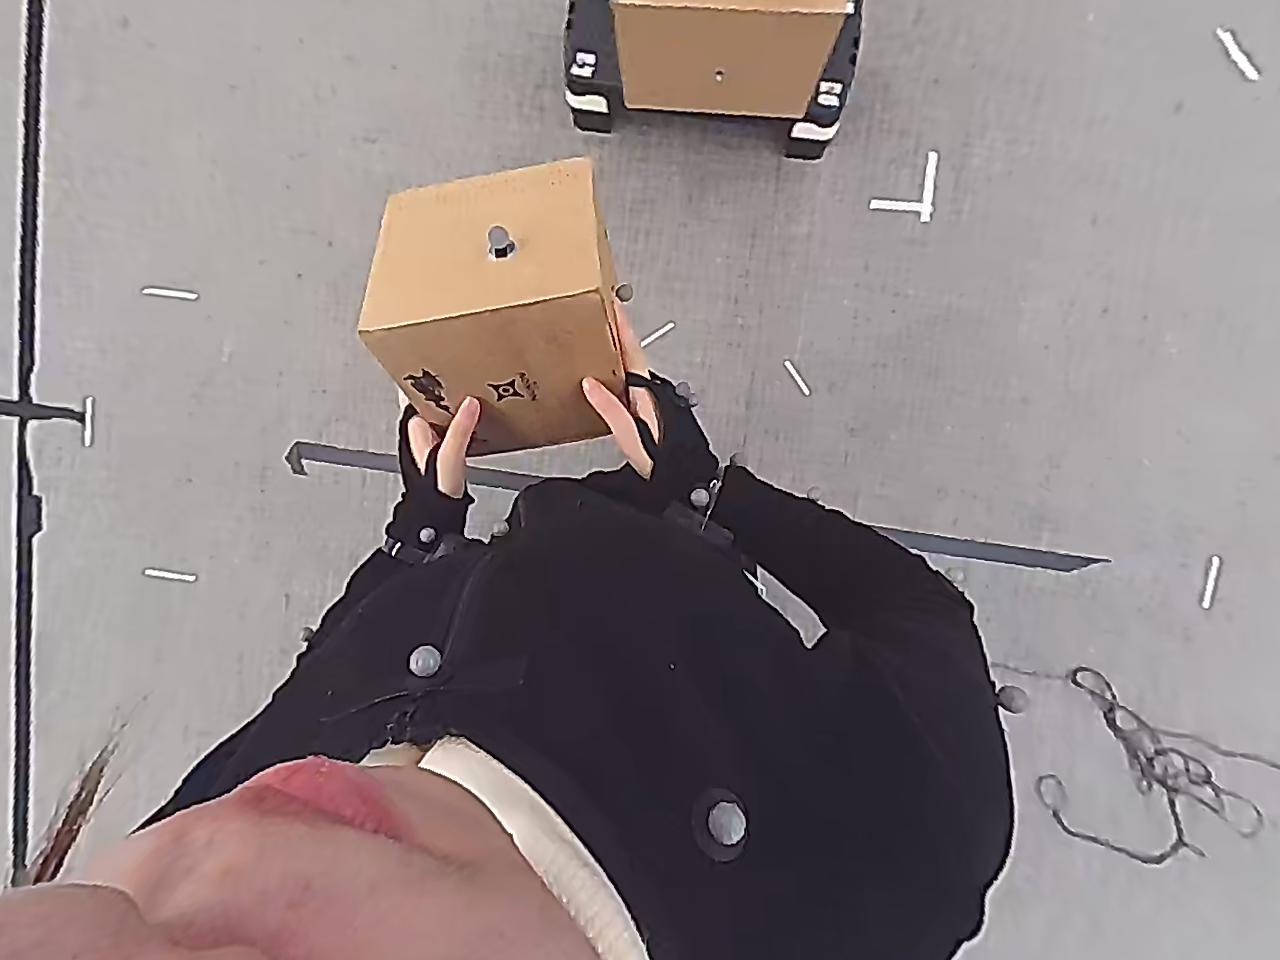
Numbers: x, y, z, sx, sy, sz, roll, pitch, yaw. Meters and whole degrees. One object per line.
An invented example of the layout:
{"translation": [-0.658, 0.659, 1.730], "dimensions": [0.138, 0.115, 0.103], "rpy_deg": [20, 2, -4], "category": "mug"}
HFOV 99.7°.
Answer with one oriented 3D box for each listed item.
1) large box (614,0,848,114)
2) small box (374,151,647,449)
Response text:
{"translation": [0.173, -0.967, 1.058], "dimensions": [0.408, 0.320, 0.320], "rpy_deg": [5, 94, 4], "category": "large box"}
{"translation": [-0.097, -0.151, 0.467], "dimensions": [0.179, 0.168, 0.176], "rpy_deg": [-9, 59, 3], "category": "small box"}
